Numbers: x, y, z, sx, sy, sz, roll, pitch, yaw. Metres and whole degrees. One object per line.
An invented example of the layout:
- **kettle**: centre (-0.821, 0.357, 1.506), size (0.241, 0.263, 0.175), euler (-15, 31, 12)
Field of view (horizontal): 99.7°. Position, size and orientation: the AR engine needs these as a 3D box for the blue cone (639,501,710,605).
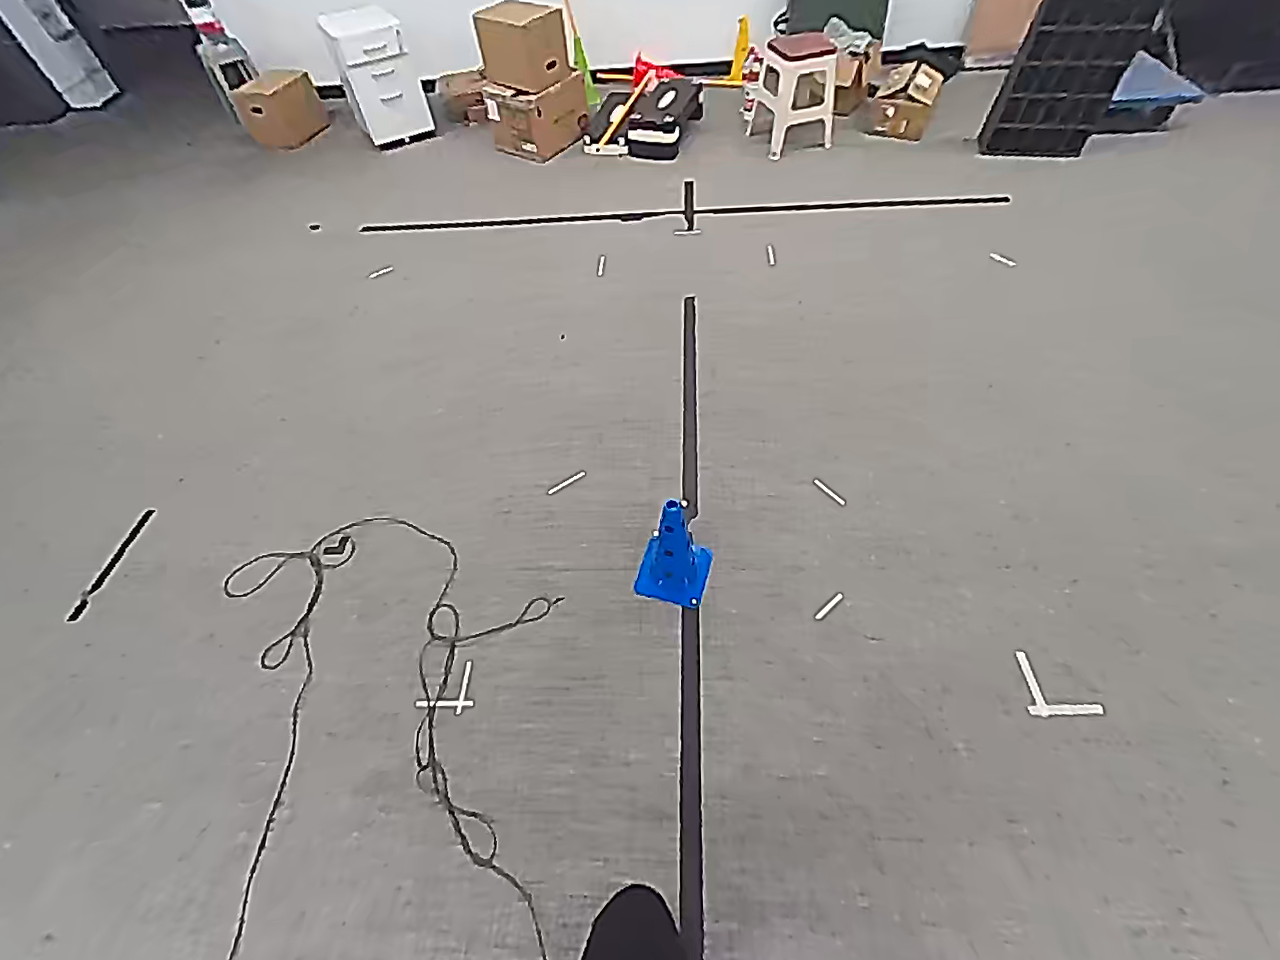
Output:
- **blue cone**: centre (0.095, 0.173, 1.470), size (0.192, 0.380, 0.193), euler (14, 56, 13)
